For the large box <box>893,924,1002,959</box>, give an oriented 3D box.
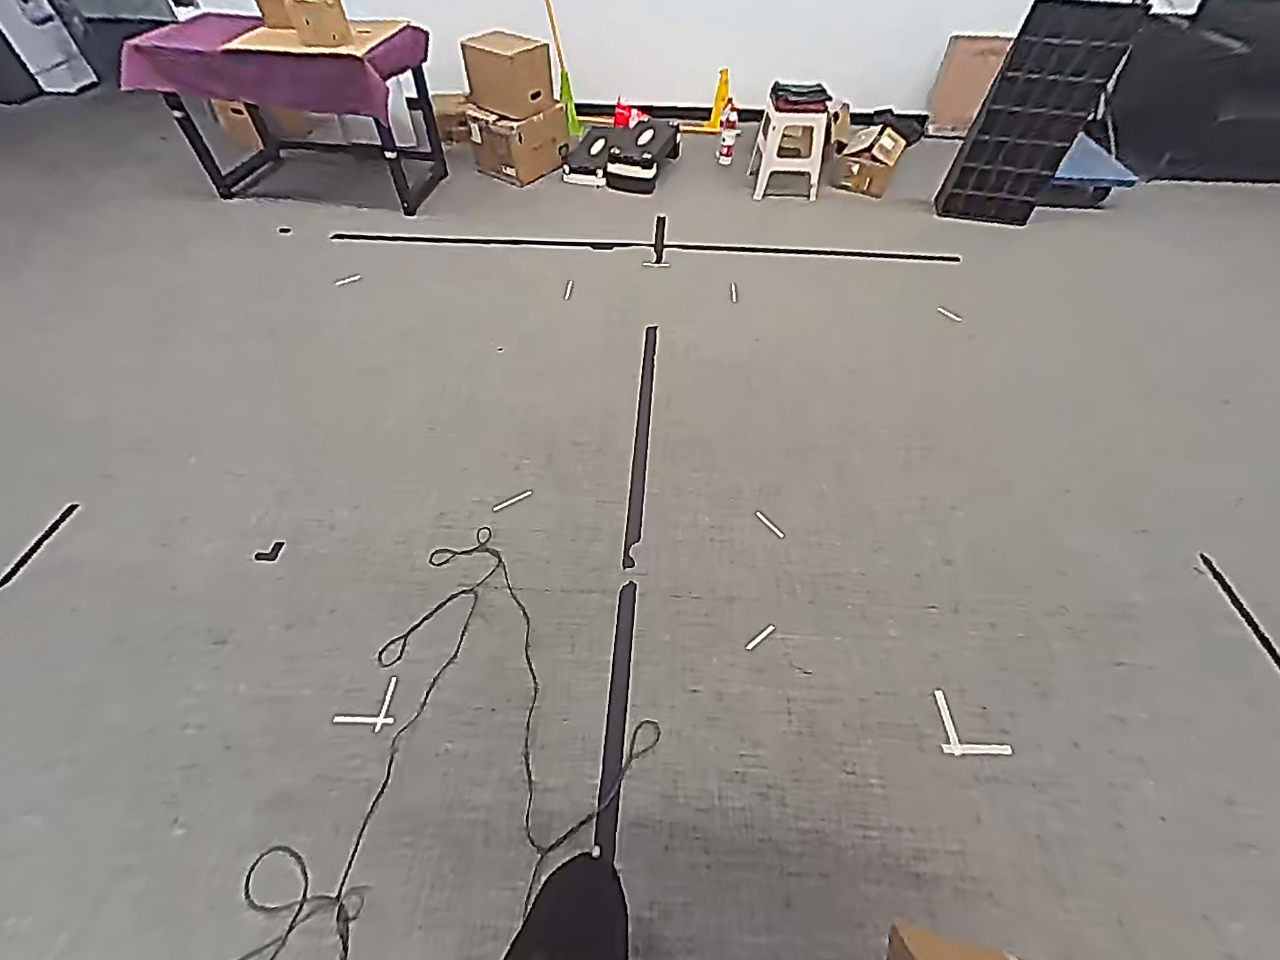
[{"bbox_3d":[0.454,0.783,0.552,0.320,0.408,0.320,12,77,13],"label":"large box"}]
